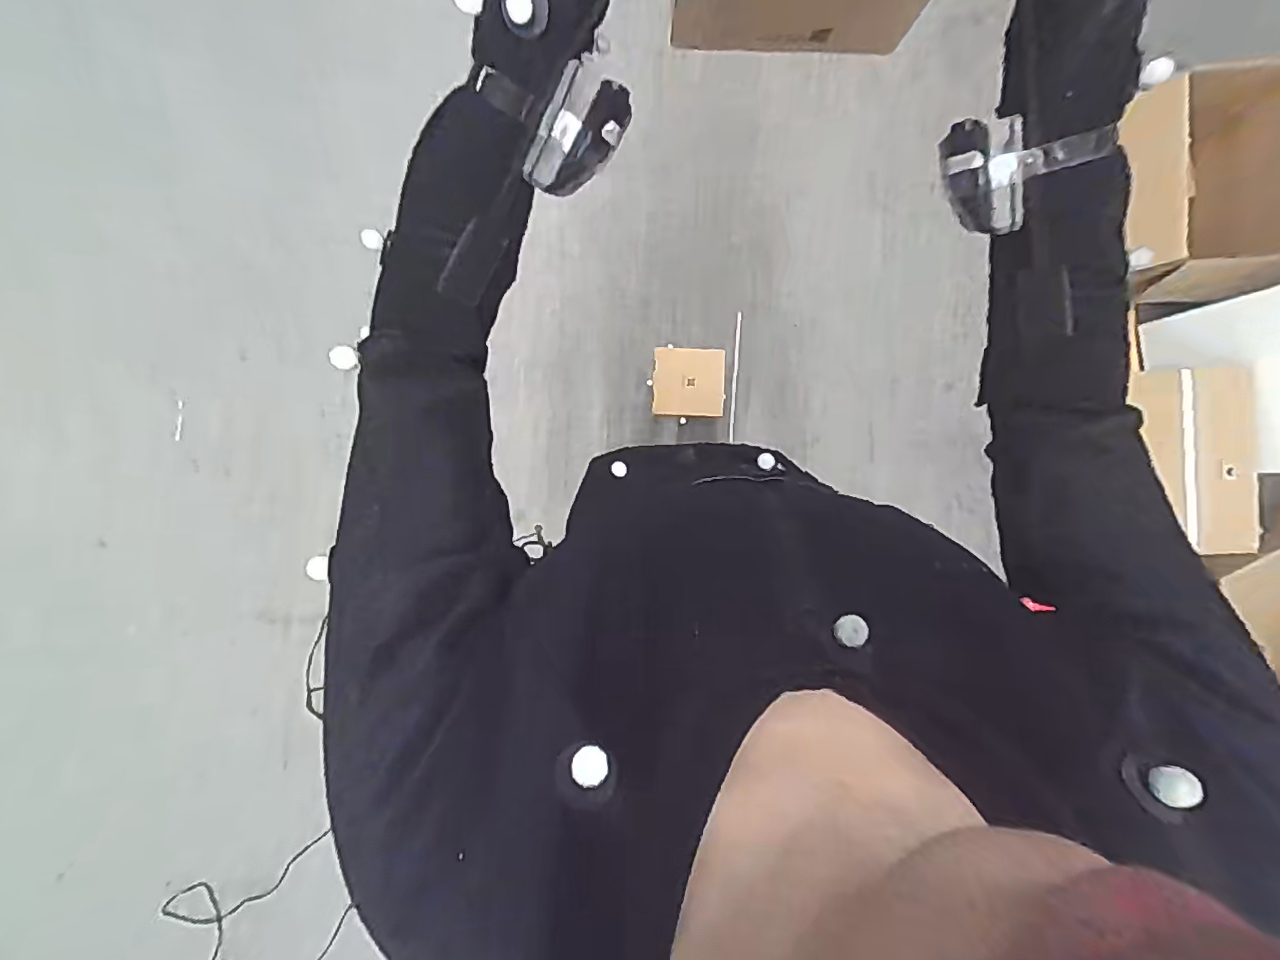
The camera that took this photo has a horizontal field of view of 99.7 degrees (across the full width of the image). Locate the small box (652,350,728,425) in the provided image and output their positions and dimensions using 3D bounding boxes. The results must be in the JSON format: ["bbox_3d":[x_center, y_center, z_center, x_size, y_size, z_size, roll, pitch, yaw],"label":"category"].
[{"bbox_3d":[0.124,-0.233,1.393,0.179,0.176,0.168,2,91,1],"label":"small box"}]
